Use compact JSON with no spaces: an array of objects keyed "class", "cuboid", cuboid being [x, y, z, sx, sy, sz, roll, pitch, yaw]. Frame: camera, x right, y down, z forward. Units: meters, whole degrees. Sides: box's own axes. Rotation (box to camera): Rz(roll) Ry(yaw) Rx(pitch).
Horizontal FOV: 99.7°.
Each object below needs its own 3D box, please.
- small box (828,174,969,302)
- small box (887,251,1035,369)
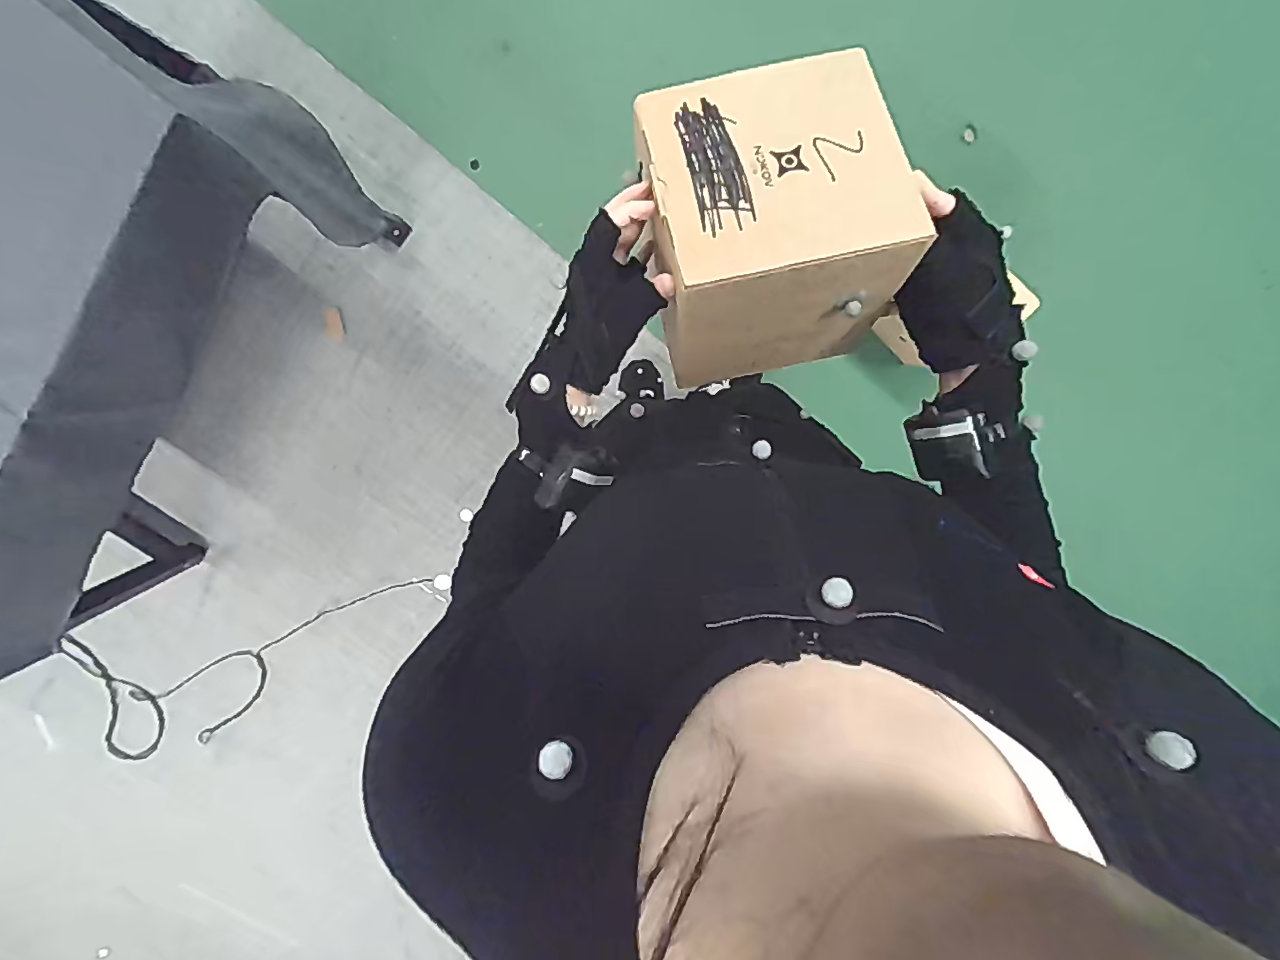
[{"class":"small box","cuboid":[0.532,-0.495,1.136,0.179,0.176,0.168,43,101,-9]},{"class":"small box","cuboid":[0.682,-0.363,1.167,0.179,0.176,0.168,38,101,-10]}]
